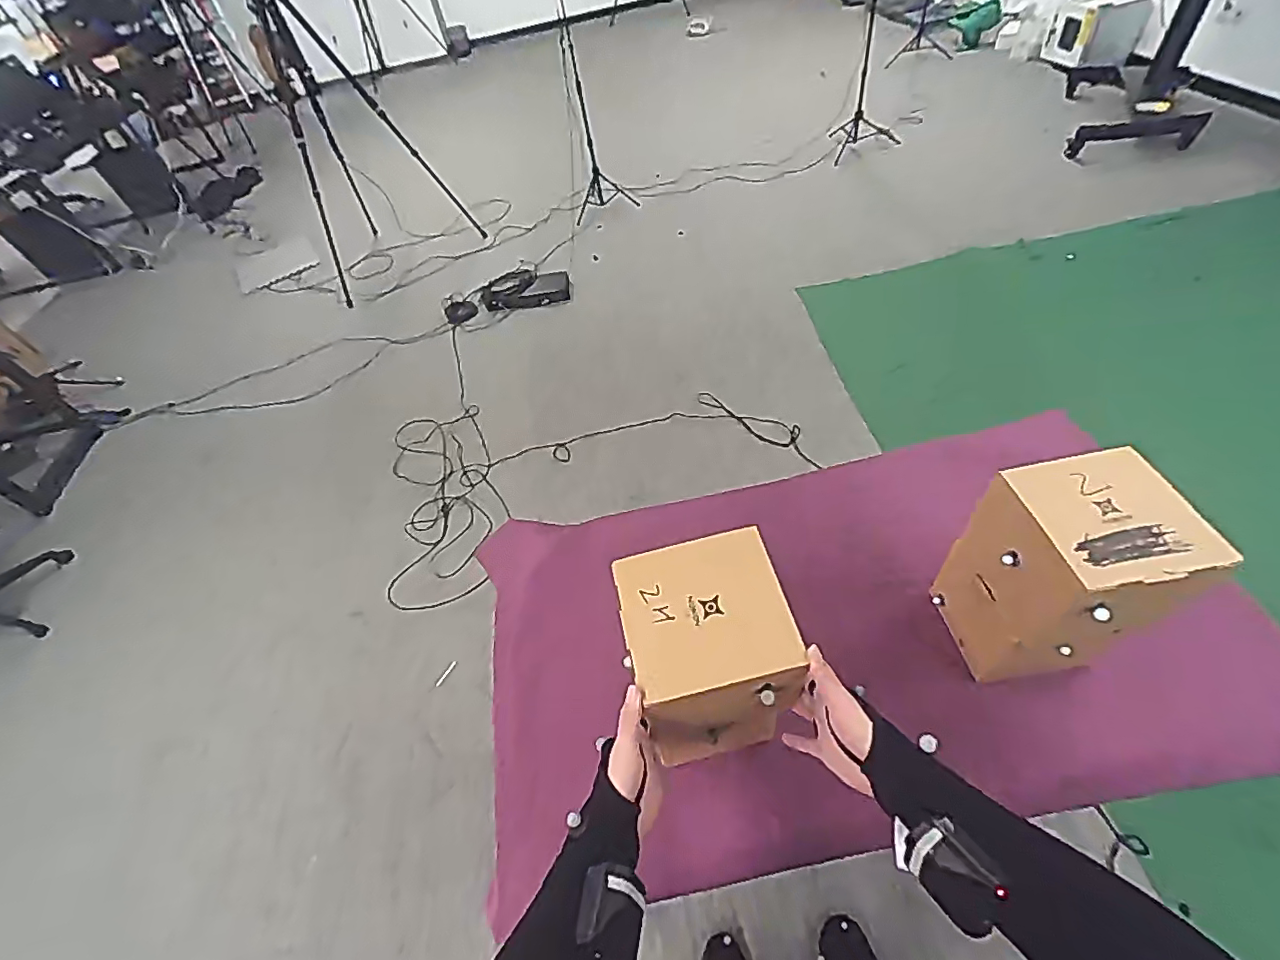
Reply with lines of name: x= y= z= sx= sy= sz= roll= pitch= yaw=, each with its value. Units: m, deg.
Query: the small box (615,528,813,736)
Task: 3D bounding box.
small box: x=0.079 y=0.183 z=0.634 sx=0.179 sy=0.176 sz=0.168 roll=-14 pitch=53 yaw=-1

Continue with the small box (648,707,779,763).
small box: x=0.096 y=0.306 z=0.817 sx=0.179 sy=0.176 sz=0.168 roll=-14 pitch=50 yaw=0

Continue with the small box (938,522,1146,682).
small box: x=0.580 y=0.190 z=0.818 sx=0.179 sy=0.176 sz=0.168 roll=-10 pitch=50 yaw=2
